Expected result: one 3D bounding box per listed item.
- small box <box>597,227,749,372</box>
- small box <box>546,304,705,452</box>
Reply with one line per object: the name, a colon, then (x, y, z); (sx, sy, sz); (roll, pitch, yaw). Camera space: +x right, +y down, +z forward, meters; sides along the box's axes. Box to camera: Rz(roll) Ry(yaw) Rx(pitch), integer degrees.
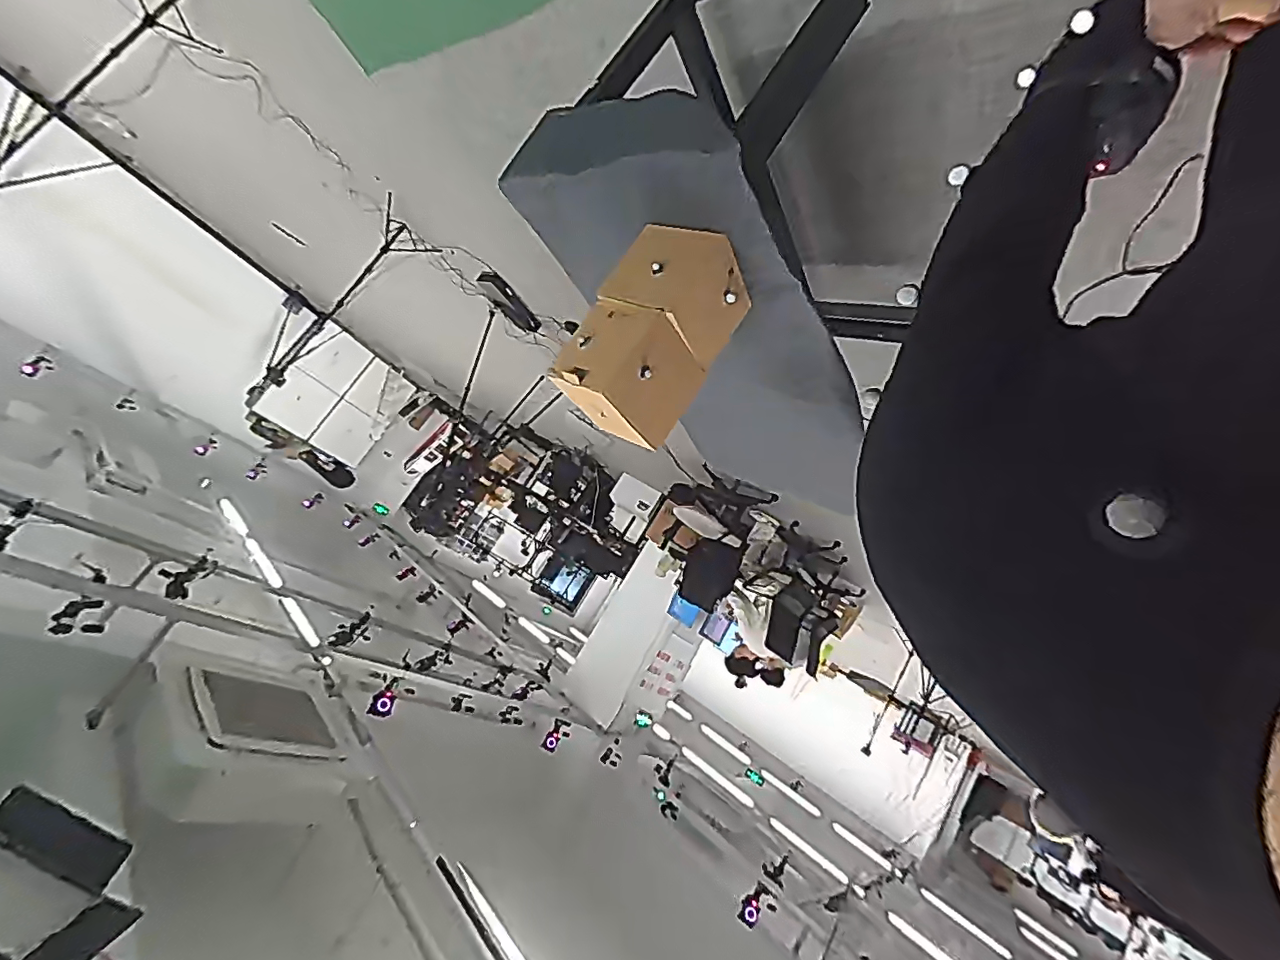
small box: (0.063, -0.319, 0.955); (0.179, 0.176, 0.168); (26, 168, 35)
small box: (-0.020, -0.180, 0.935); (0.168, 0.176, 0.179); (26, 169, 43)
